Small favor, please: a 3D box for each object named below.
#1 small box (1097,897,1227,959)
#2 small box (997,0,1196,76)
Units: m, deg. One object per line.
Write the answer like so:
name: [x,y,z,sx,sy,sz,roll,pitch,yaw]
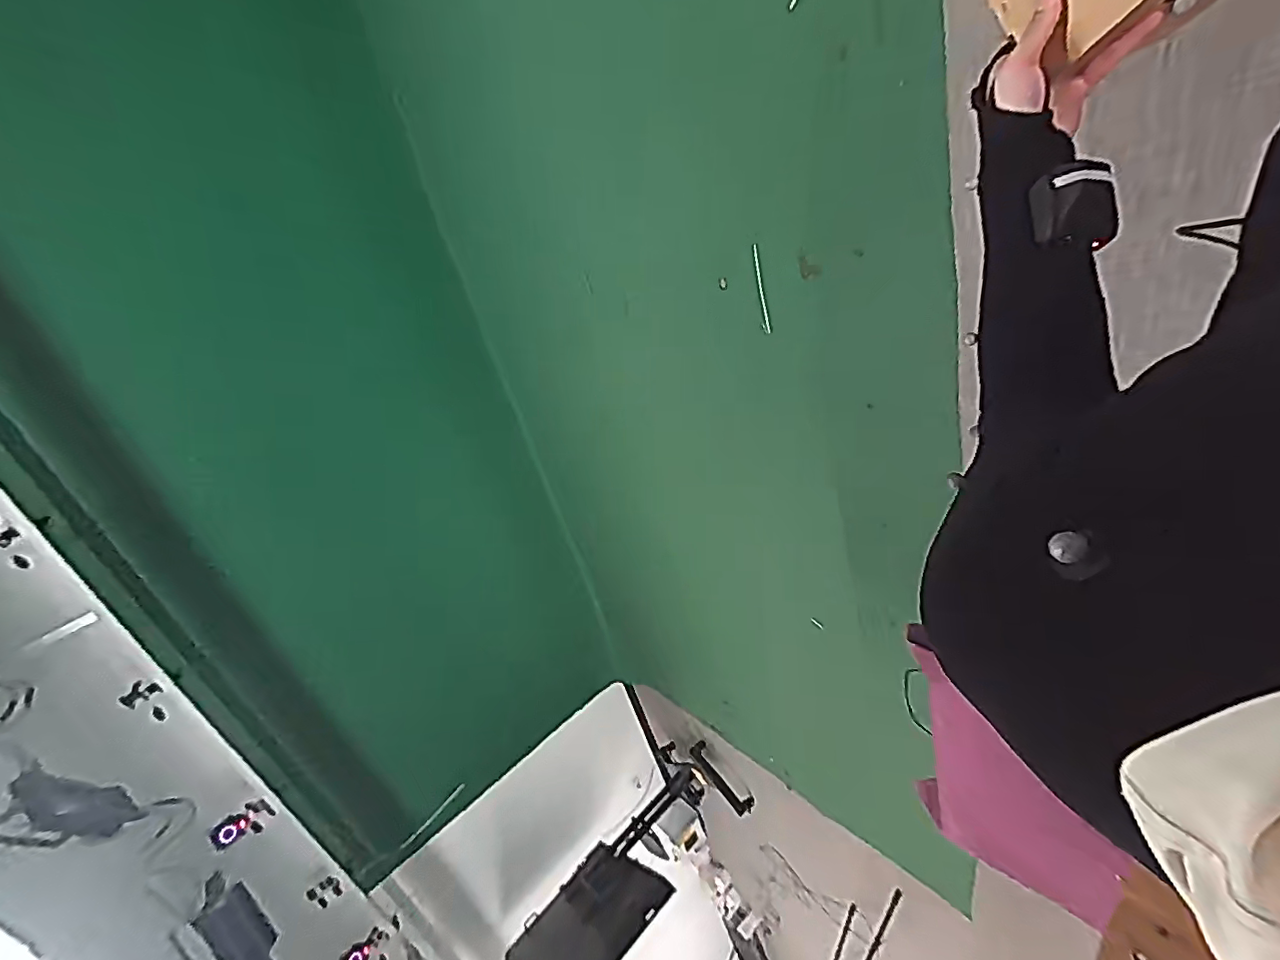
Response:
small box: [0.831,0.825,0.856,0.168,0.176,0.179,17,131,49]
small box: [0.410,-0.478,0.422,0.168,0.176,0.179,63,170,0]
